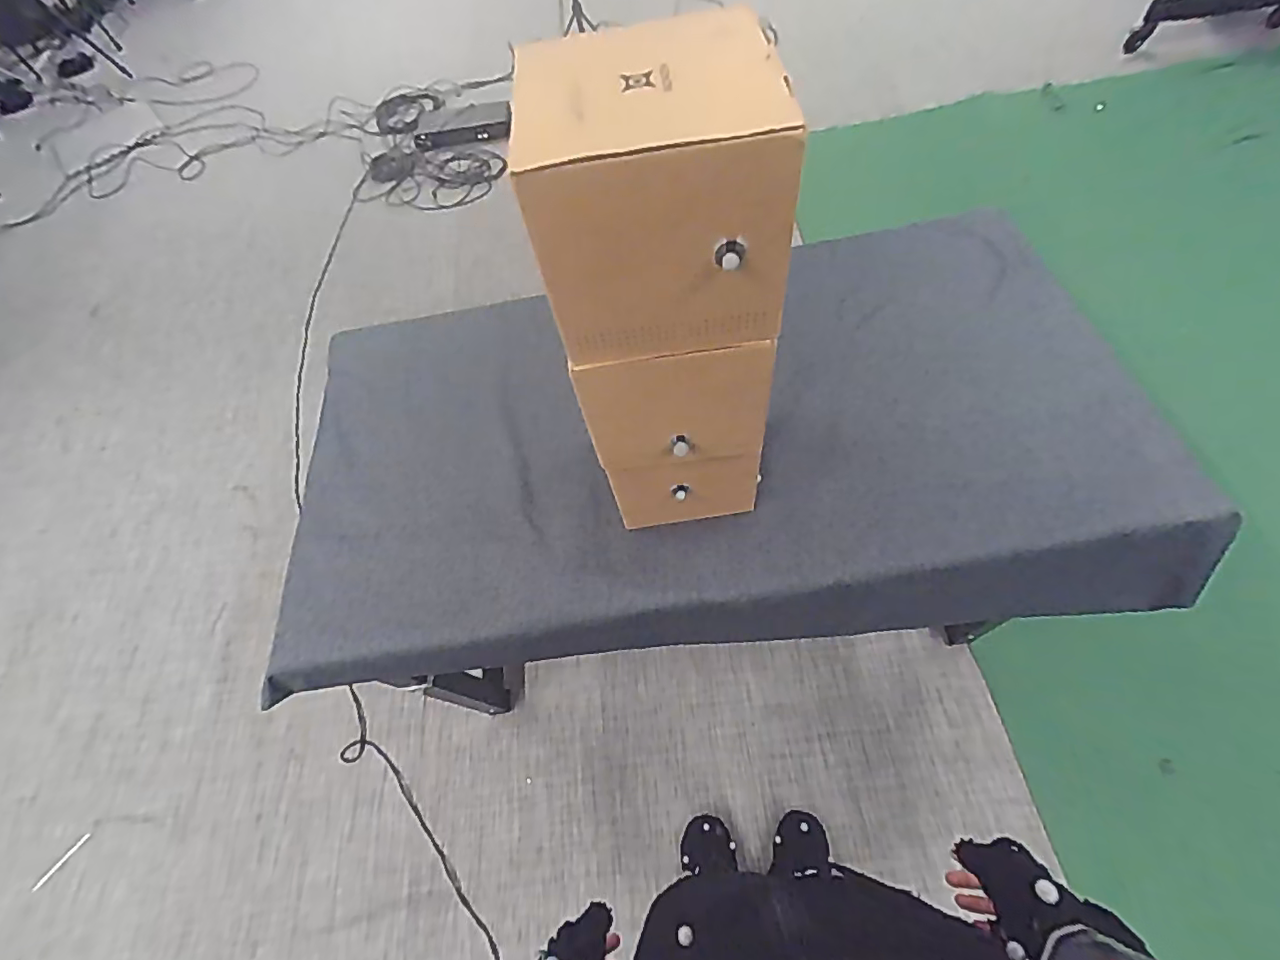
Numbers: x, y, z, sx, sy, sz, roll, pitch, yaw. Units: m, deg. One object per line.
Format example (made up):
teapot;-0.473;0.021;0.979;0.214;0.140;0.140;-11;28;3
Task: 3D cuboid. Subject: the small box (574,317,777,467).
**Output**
small box;0.032;-0.130;0.564;0.179;0.176;0.168;-8;59;3

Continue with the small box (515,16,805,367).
small box;0.014;-0.213;0.425;0.179;0.176;0.168;-9;59;4

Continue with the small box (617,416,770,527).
small box;0.054;-0.056;0.708;0.179;0.176;0.168;-11;60;0
